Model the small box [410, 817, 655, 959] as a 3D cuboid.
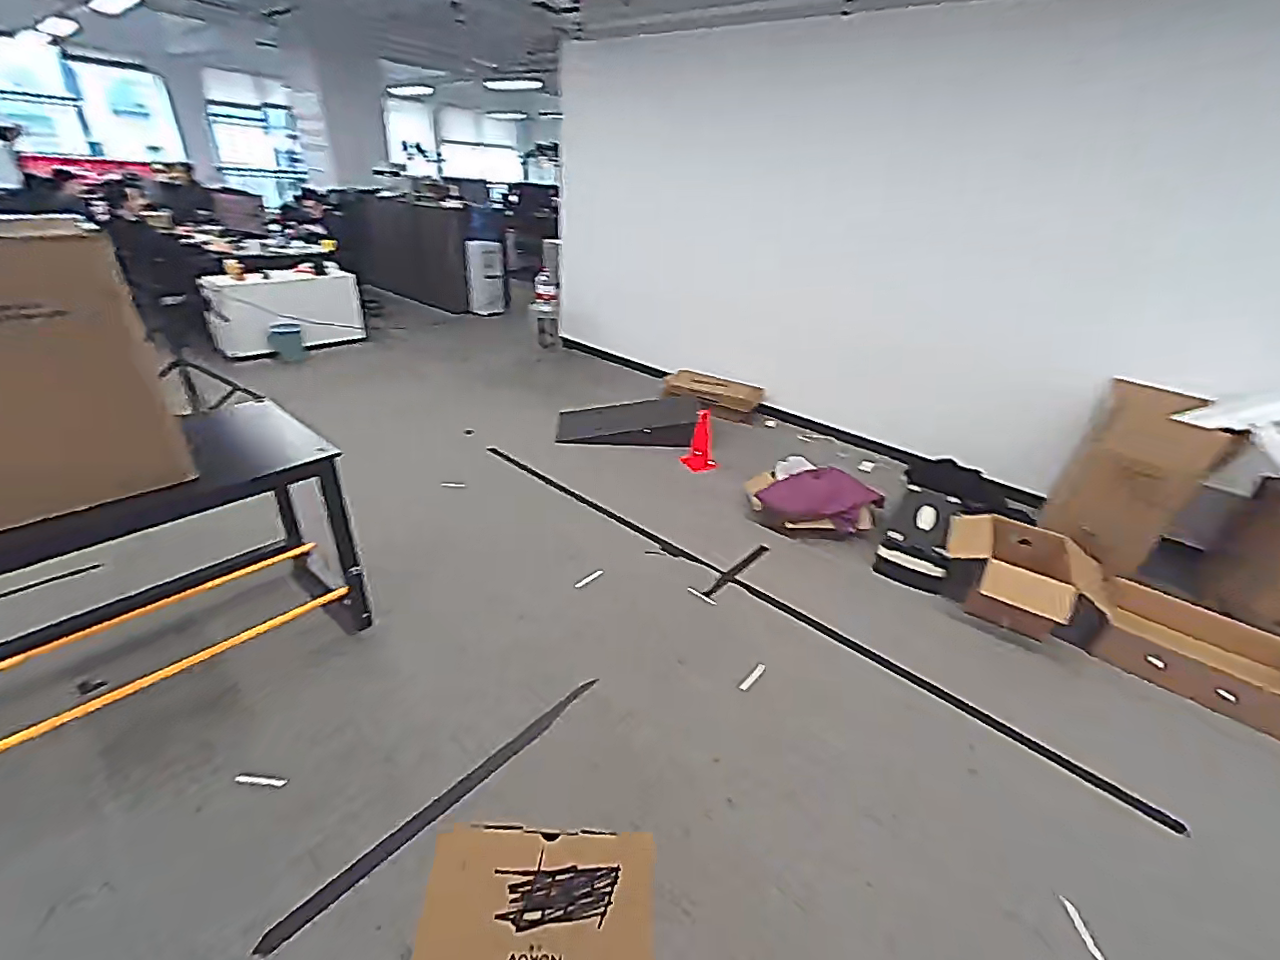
[{"bbox_3d":[-0.082,0.383,0.410,0.168,0.176,0.179,5,42,-6],"label":"small box"}]
